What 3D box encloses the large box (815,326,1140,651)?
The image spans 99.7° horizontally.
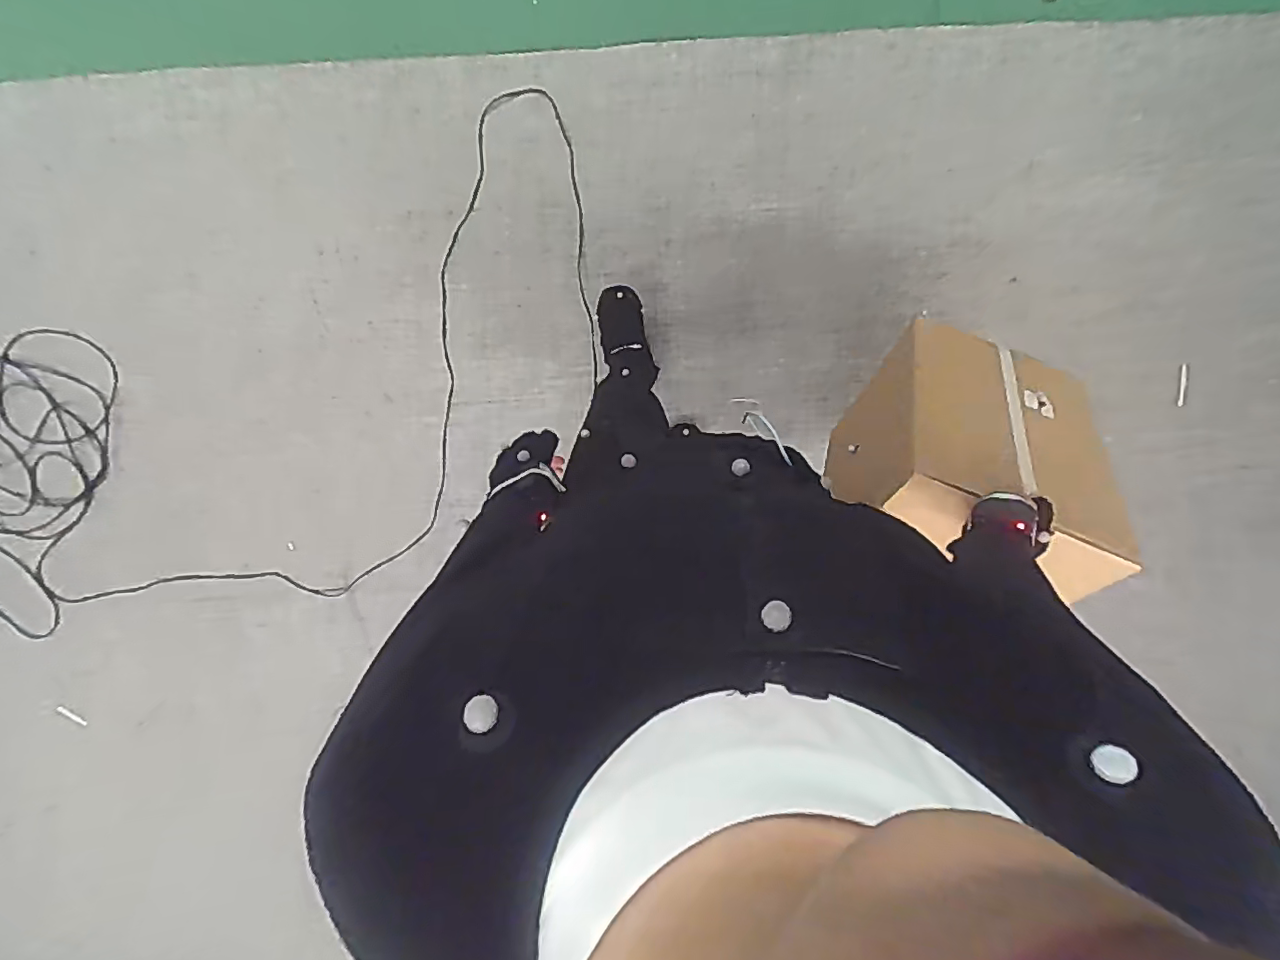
[{"bbox_3d":[0.527,0.012,0.935,0.320,0.408,0.320,23,139,2],"label":"large box"}]
